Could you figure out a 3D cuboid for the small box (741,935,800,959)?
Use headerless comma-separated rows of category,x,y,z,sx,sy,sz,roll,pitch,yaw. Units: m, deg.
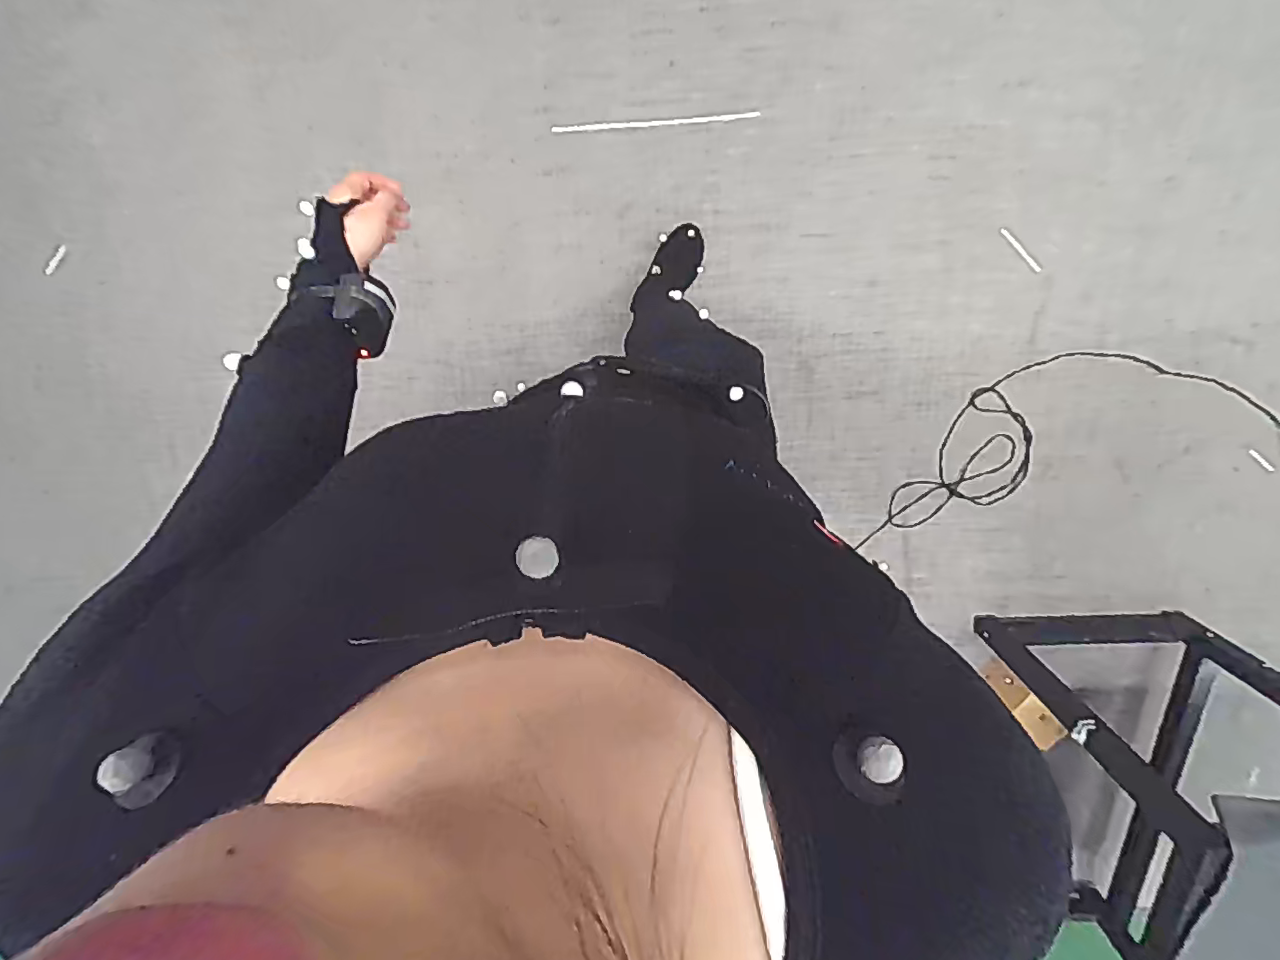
small box,0.487,1.822,1.973,0.168,0.176,0.179,31,106,-8

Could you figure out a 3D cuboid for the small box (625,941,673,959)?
small box,0.030,1.860,2.004,0.179,0.176,0.168,7,107,2

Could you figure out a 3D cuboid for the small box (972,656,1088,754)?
small box,1.121,0.645,1.573,0.179,0.176,0.168,30,106,-7
